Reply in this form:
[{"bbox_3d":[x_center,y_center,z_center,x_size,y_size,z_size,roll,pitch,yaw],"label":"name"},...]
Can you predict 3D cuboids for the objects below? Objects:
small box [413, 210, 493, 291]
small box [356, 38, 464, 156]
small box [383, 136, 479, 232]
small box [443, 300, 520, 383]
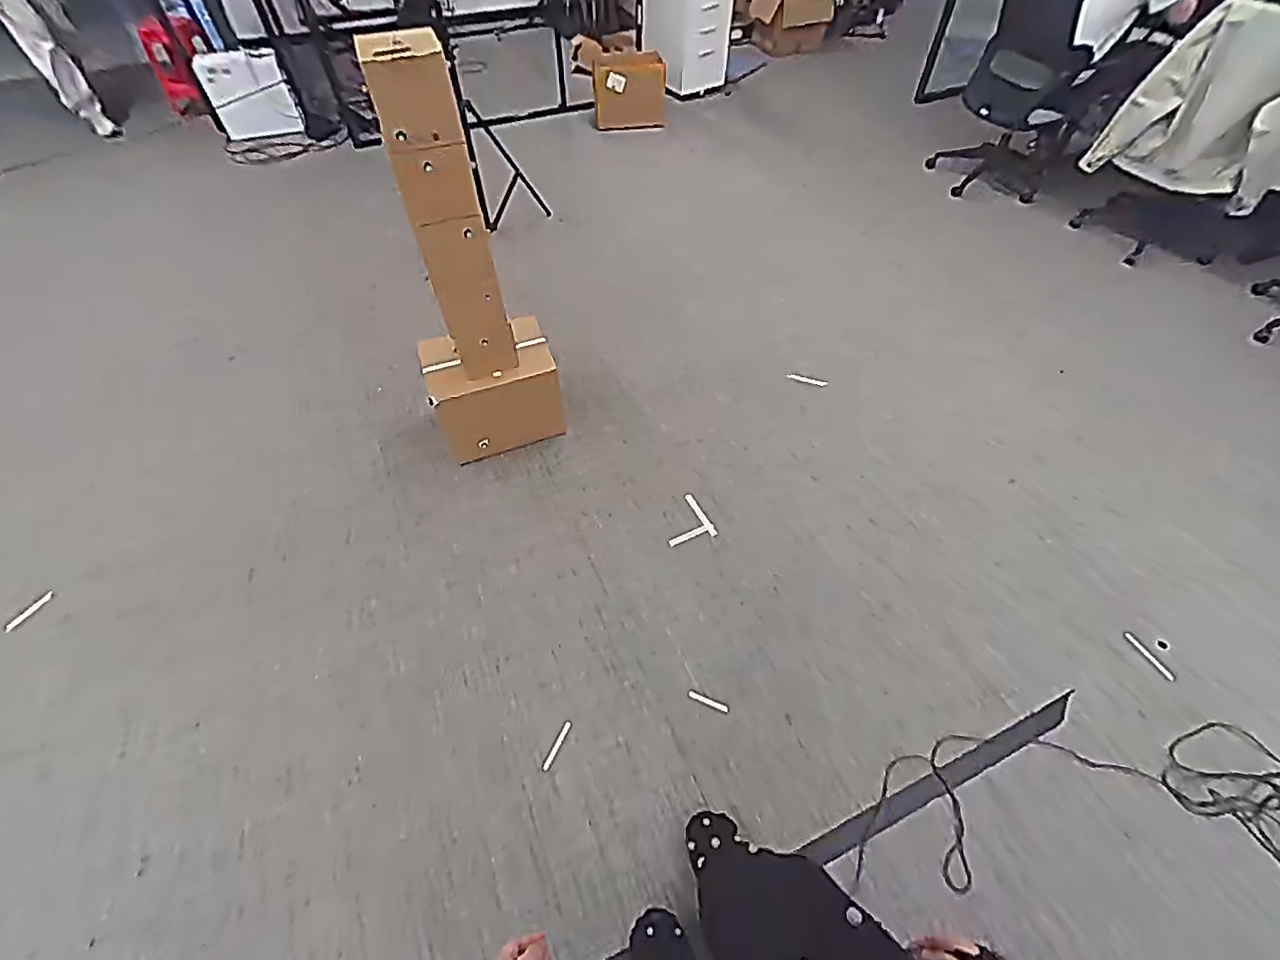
[{"bbox_3d":[-0.500,-0.633,1.444,0.179,0.176,0.168,-17,55,-13],"label":"small box"},{"bbox_3d":[-0.499,-0.832,1.186,0.168,0.176,0.179,-17,55,-12],"label":"small box"},{"bbox_3d":[-0.501,-0.732,1.315,0.179,0.176,0.168,-17,56,-12],"label":"small box"},{"bbox_3d":[-0.496,-0.433,1.705,0.179,0.176,0.168,-20,56,-16],"label":"small box"}]
